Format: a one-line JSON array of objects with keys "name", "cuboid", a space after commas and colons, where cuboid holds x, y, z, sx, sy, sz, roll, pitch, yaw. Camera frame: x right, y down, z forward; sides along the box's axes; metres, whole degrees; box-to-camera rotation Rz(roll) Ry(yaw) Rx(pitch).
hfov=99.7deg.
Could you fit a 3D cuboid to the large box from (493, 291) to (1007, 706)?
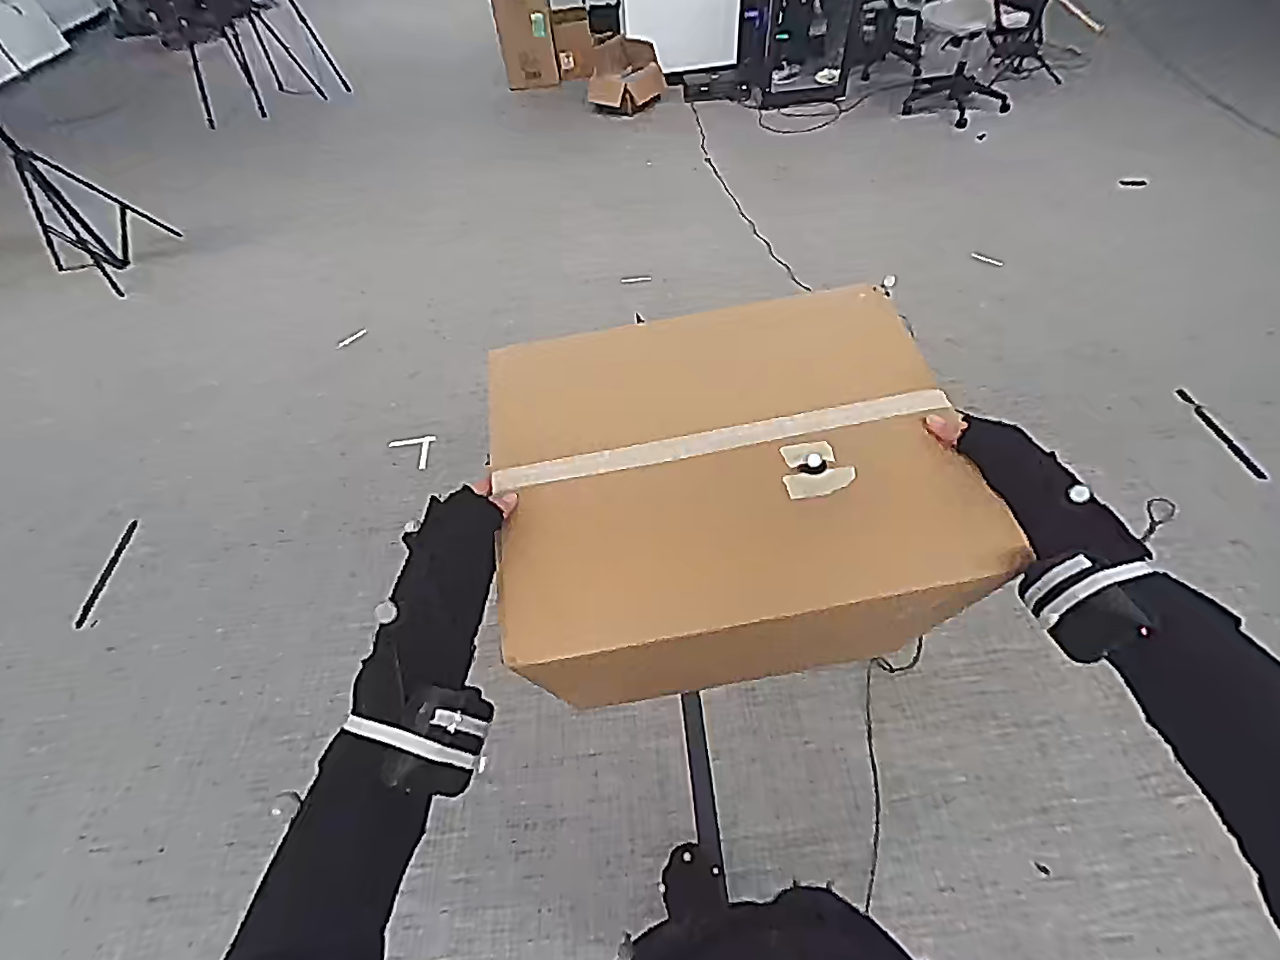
[{"name": "large box", "cuboid": [0.078, 0.041, 0.618, 0.408, 0.320, 0.320, -11, 61, -1]}]
